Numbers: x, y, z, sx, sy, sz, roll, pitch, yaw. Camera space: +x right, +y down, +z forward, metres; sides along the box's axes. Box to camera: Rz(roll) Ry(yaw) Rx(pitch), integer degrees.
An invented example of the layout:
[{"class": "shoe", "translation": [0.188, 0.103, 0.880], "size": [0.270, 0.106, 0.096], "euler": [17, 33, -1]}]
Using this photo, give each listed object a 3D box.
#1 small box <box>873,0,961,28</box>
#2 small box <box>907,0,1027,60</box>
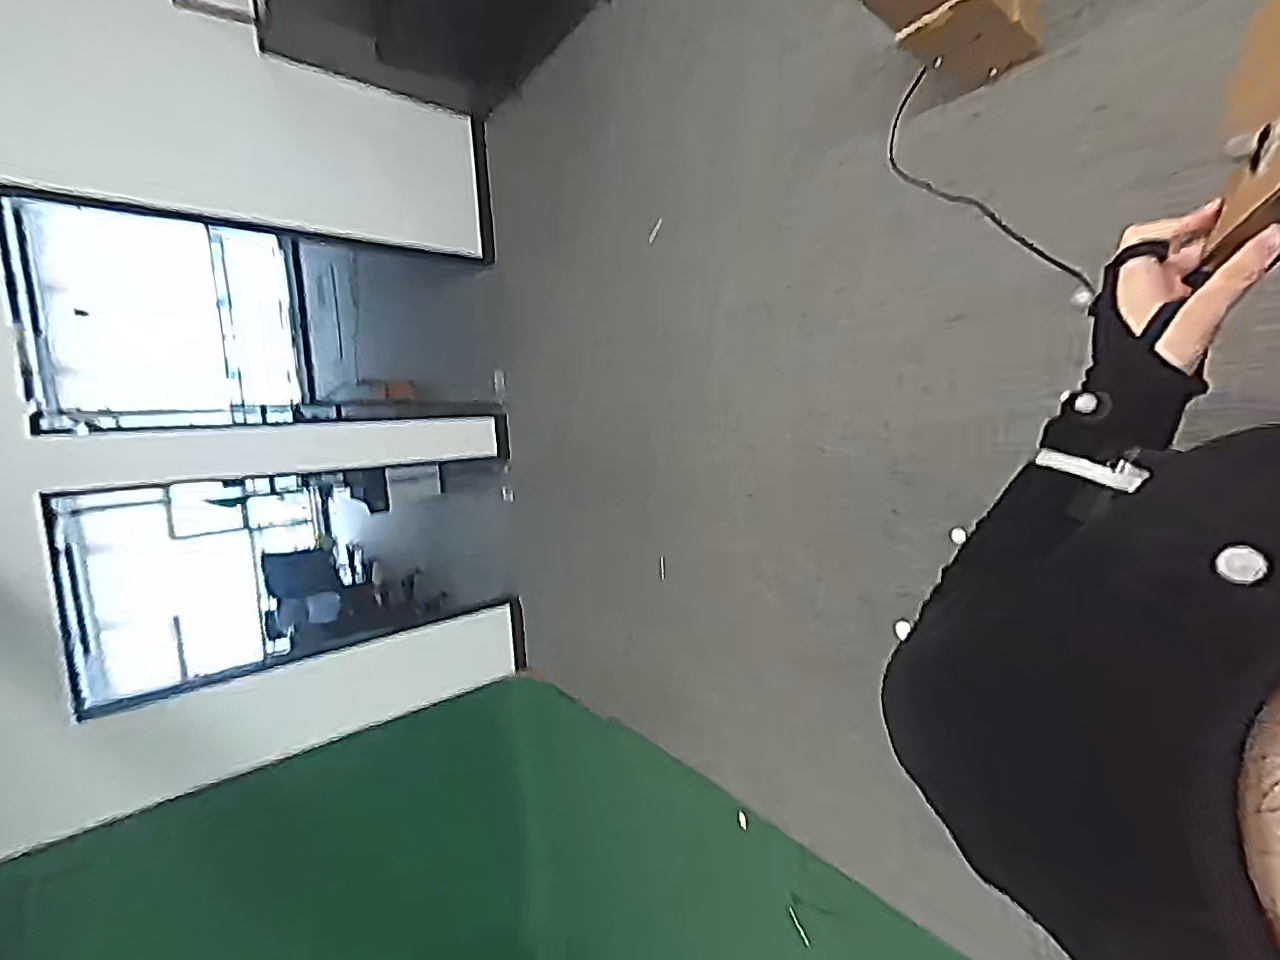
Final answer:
[{"class": "small box", "translation": [0.541, -0.990, 0.987], "size": [0.179, 0.176, 0.168], "euler": [1, 96, 54]}, {"class": "small box", "translation": [0.662, -1.000, 1.096], "size": [0.168, 0.176, 0.179], "euler": [0, 95, 52]}]
